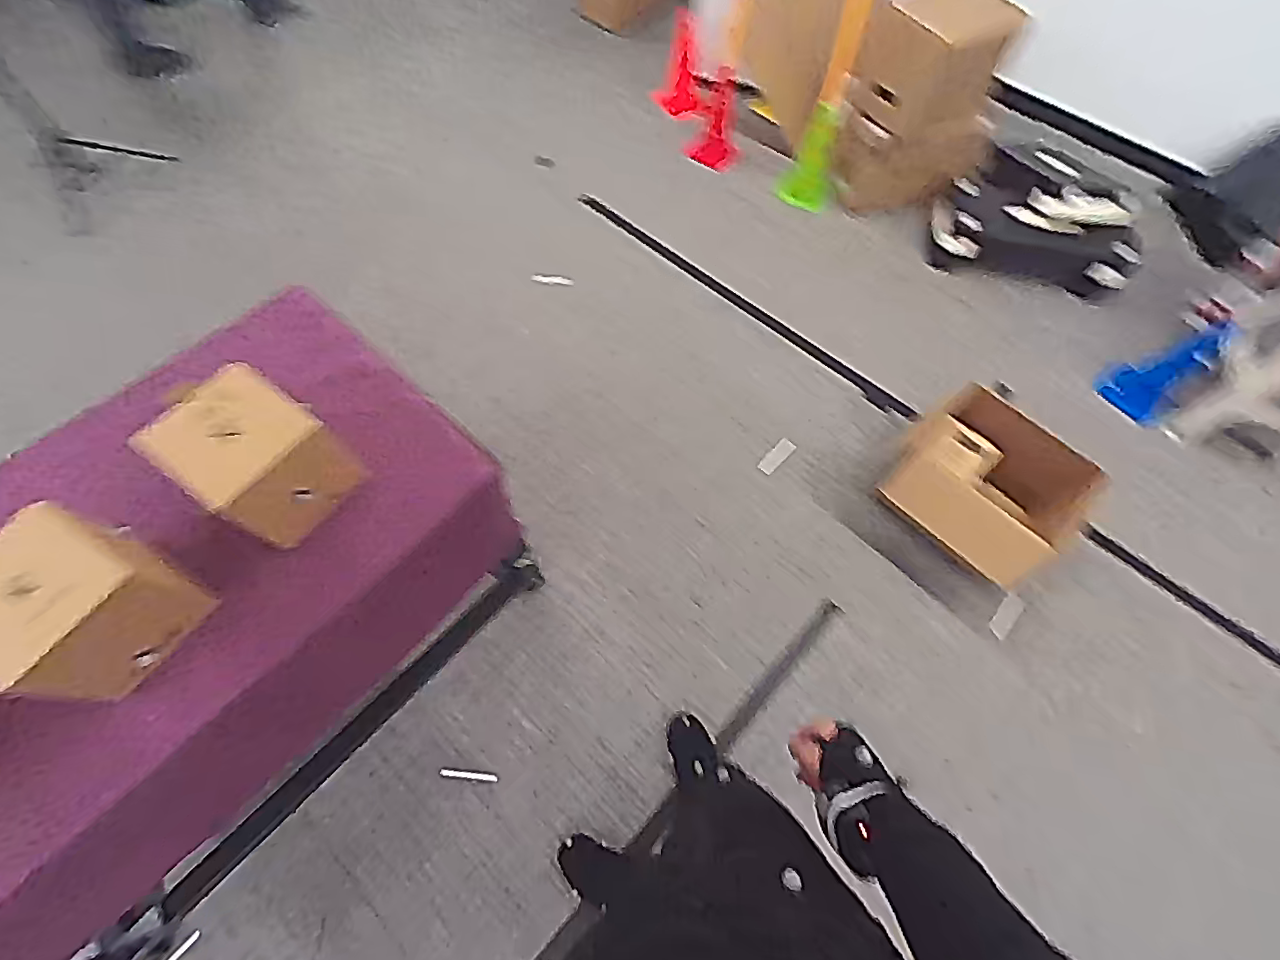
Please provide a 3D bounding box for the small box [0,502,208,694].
[{"bbox_3d":[-0.737,0.163,0.706,0.179,0.176,0.168,29,68,12],"label":"small box"}]

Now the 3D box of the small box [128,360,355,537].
[{"bbox_3d":[-0.569,-0.035,0.801,0.179,0.176,0.168,33,68,13],"label":"small box"}]
